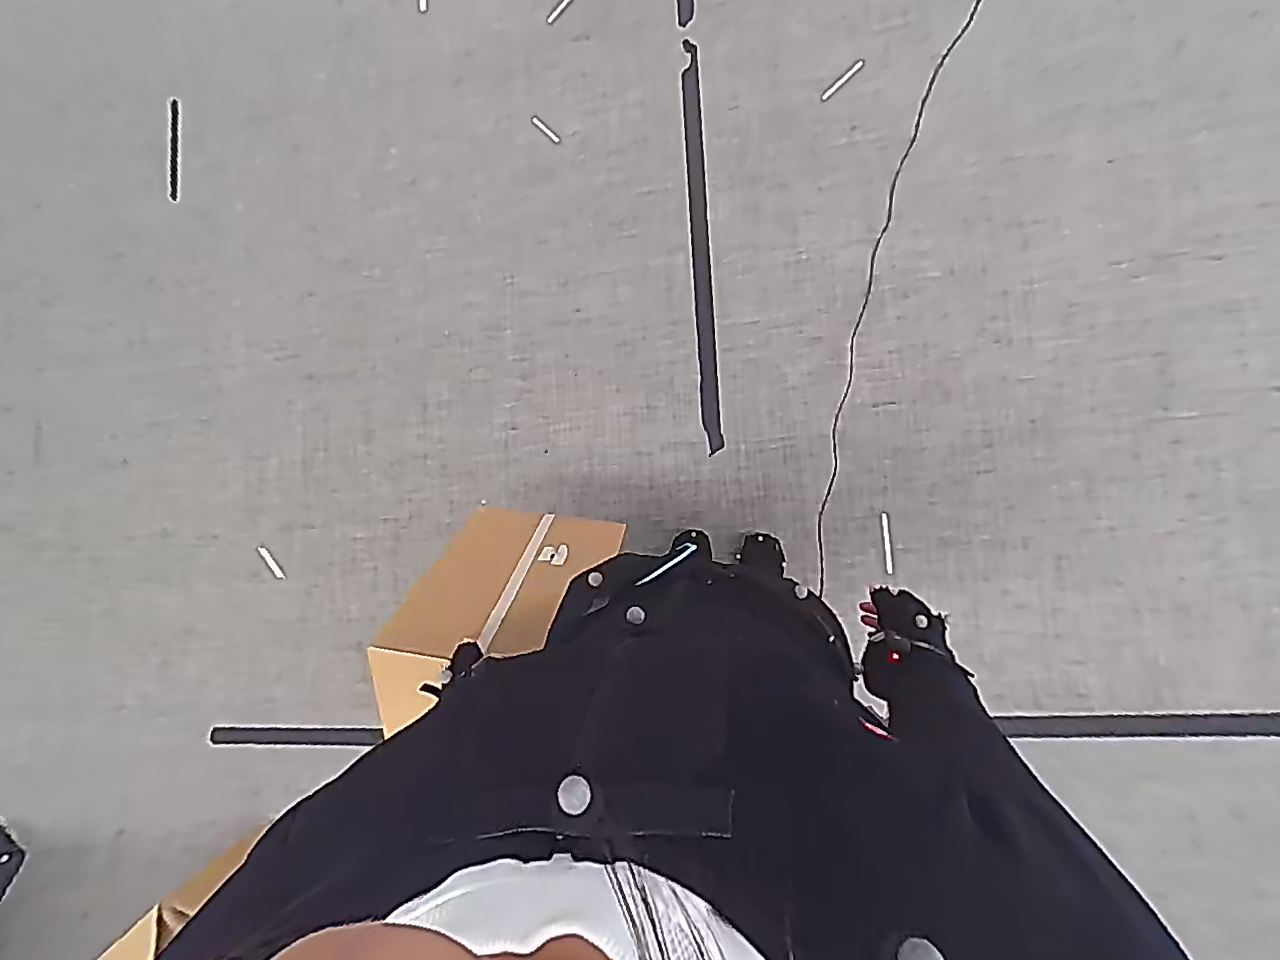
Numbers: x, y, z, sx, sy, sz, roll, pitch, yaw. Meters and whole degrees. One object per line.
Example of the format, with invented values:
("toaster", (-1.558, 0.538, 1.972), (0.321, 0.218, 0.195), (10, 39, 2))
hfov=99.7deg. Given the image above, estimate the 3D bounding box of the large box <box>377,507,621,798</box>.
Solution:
("large box", (-0.224, 0.297, 1.014), (0.320, 0.408, 0.320), (9, 118, 5))
